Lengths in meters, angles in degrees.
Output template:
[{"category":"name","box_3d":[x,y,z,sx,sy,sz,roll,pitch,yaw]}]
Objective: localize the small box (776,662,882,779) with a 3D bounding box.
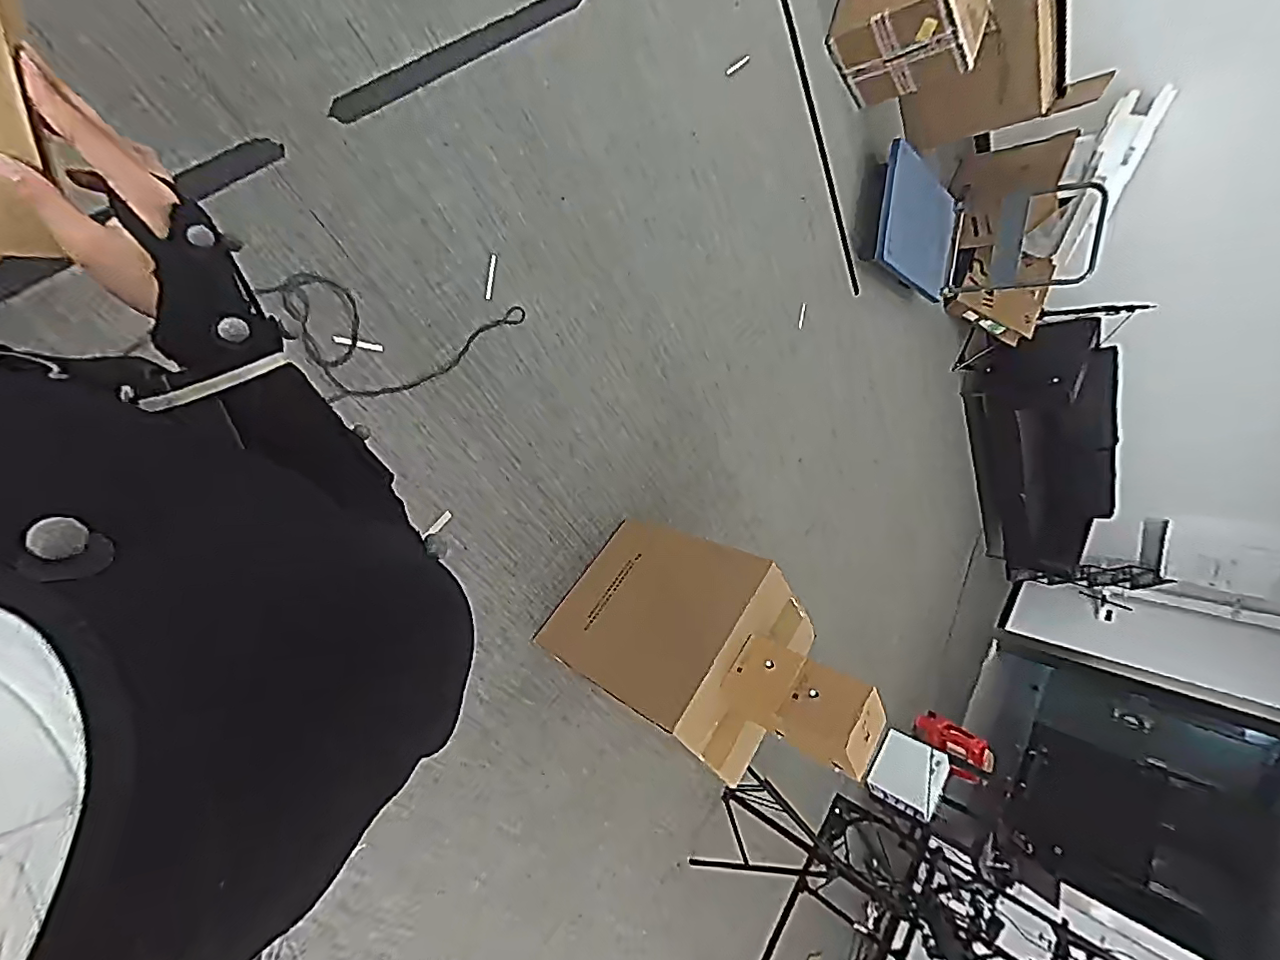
[{"category":"small box","box_3d":[0.451,0.565,1.292,0.168,0.176,0.179,-50,128,-28]}]

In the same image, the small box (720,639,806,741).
[{"category":"small box","box_3d":[0.334,0.536,1.405,0.168,0.176,0.179,-51,129,-26]}]

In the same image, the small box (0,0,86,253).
[{"category":"small box","box_3d":[-0.427,-0.223,0.283,0.168,0.176,0.179,-13,117,-40]}]
